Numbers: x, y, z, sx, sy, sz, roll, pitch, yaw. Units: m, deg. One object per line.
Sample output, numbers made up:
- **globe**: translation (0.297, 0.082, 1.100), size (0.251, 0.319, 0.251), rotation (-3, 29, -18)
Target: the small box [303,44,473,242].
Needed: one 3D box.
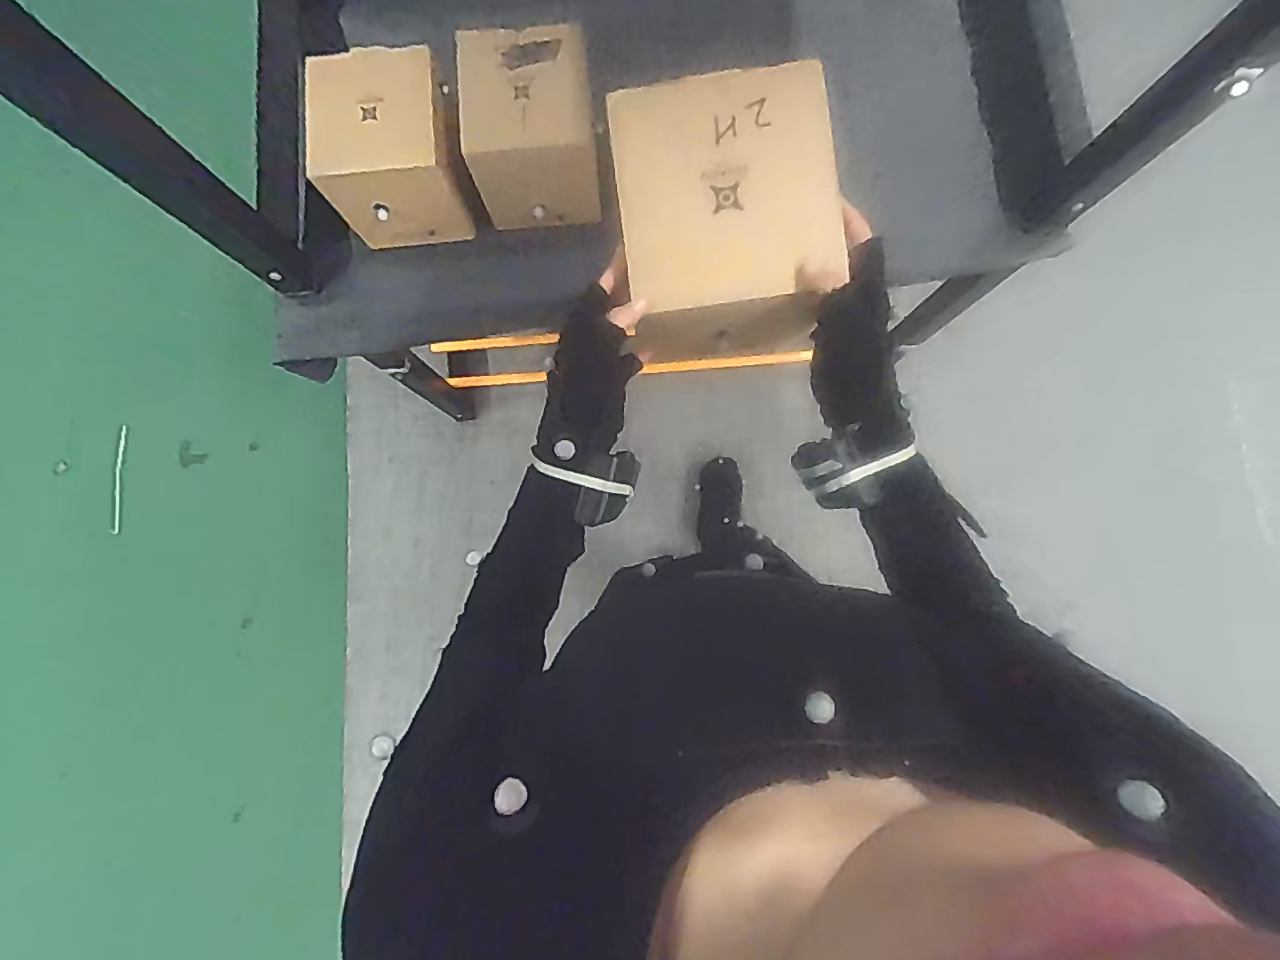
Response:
- **small box**: translation (-0.343, -0.457, 0.763), size (0.168, 0.176, 0.179), rotation (-5, 81, 0)

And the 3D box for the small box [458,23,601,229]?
- **small box**: translation (-0.148, -0.488, 0.764), size (0.168, 0.176, 0.179), rotation (-5, 83, 1)
